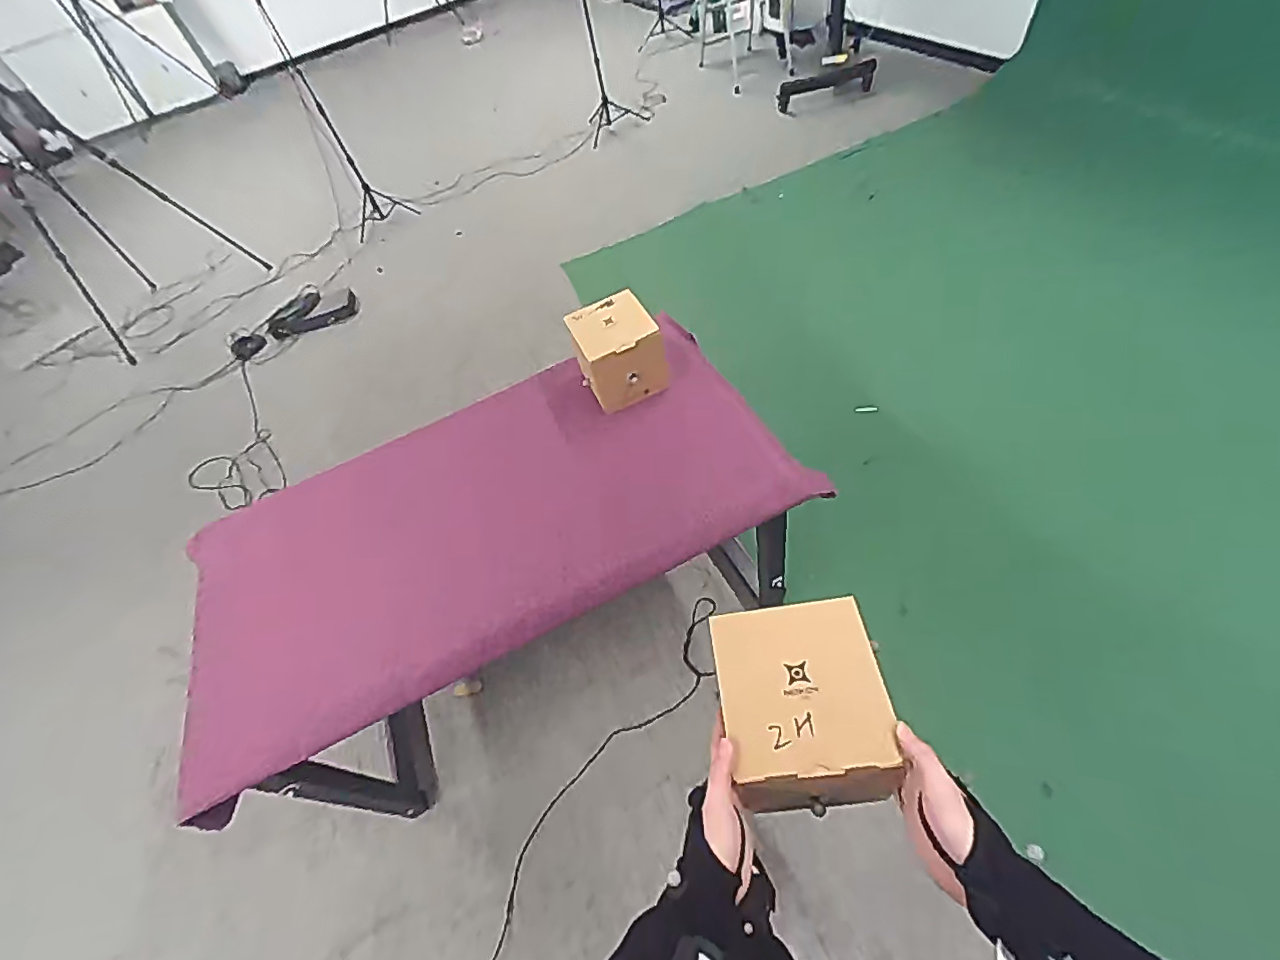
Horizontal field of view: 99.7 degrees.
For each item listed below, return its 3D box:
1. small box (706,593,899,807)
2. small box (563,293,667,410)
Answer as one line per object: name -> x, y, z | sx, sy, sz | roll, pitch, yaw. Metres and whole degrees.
small box -> 0.174, 0.255, 0.623 | 0.168, 0.176, 0.179 | -10, 48, 8
small box -> -0.051, -0.281, 1.225 | 0.168, 0.176, 0.179 | -25, 55, -6
